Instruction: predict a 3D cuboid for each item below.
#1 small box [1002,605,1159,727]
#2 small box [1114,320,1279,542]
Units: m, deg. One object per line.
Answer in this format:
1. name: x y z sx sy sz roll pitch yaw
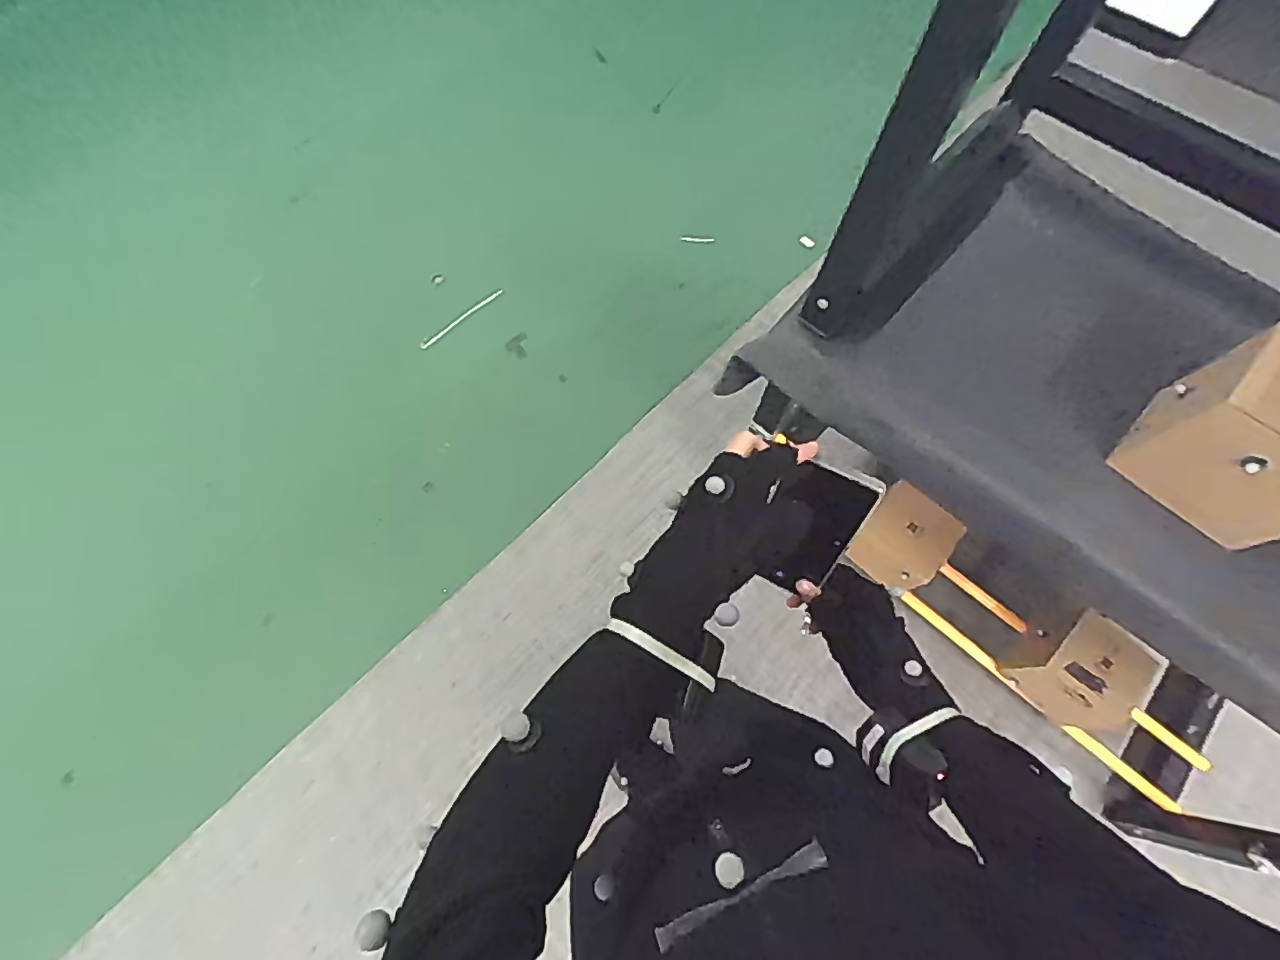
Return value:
1. small box: 0.921 0.398 1.153 0.179 0.176 0.168 -42 74 -16
2. small box: 0.751 -0.051 0.661 0.168 0.176 0.179 -42 74 -16
